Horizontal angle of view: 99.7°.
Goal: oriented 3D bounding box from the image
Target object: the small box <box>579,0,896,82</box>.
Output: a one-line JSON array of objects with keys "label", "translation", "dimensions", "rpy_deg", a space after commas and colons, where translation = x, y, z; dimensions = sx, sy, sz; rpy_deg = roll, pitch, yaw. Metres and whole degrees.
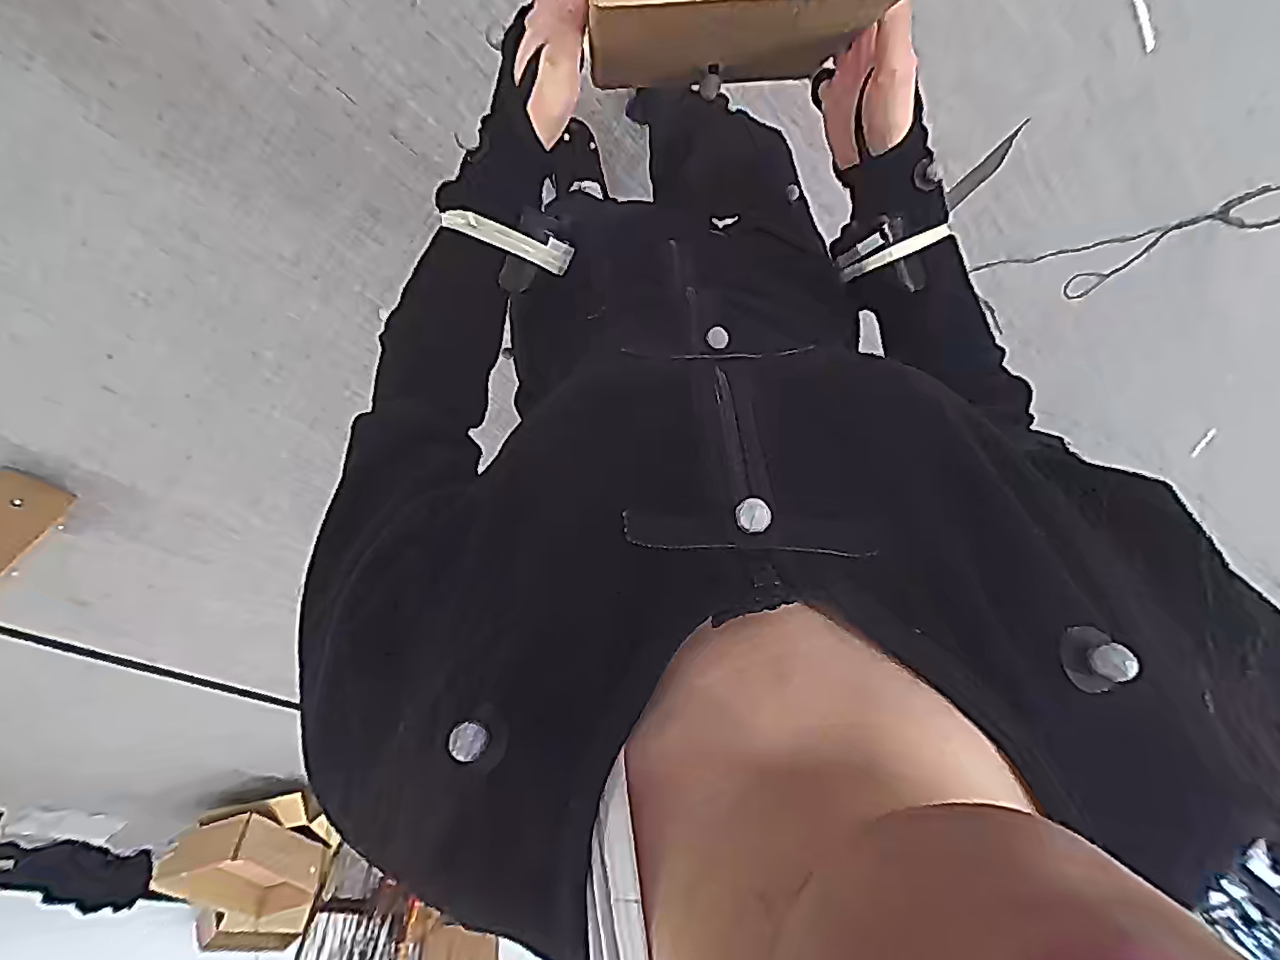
[{"label": "small box", "translation": [0.048, -0.362, 0.325], "dimensions": [0.179, 0.176, 0.168], "rpy_deg": [-5, 113, -4]}]

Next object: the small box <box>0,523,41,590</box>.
[{"label": "small box", "translation": [-1.633, 0.198, 1.302], "dimensions": [0.168, 0.176, 0.179], "rpy_deg": [-39, 125, 20]}]
